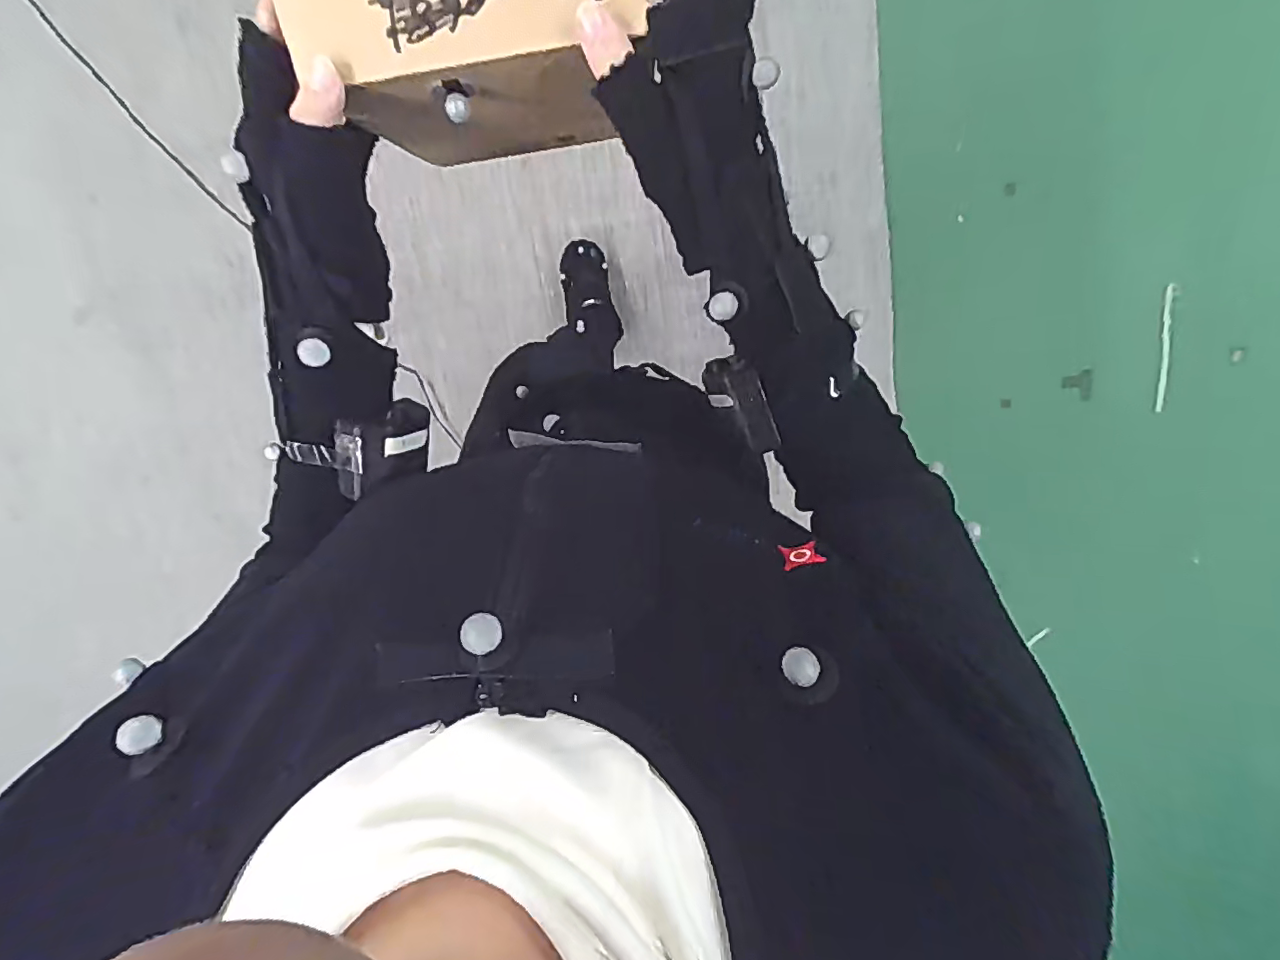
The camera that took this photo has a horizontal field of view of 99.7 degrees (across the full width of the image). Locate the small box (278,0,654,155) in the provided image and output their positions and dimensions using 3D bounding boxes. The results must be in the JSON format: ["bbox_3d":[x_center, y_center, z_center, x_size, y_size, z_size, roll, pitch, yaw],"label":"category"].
[{"bbox_3d":[-0.085,-0.304,0.290,0.168,0.176,0.179,-7,108,4],"label":"small box"}]
